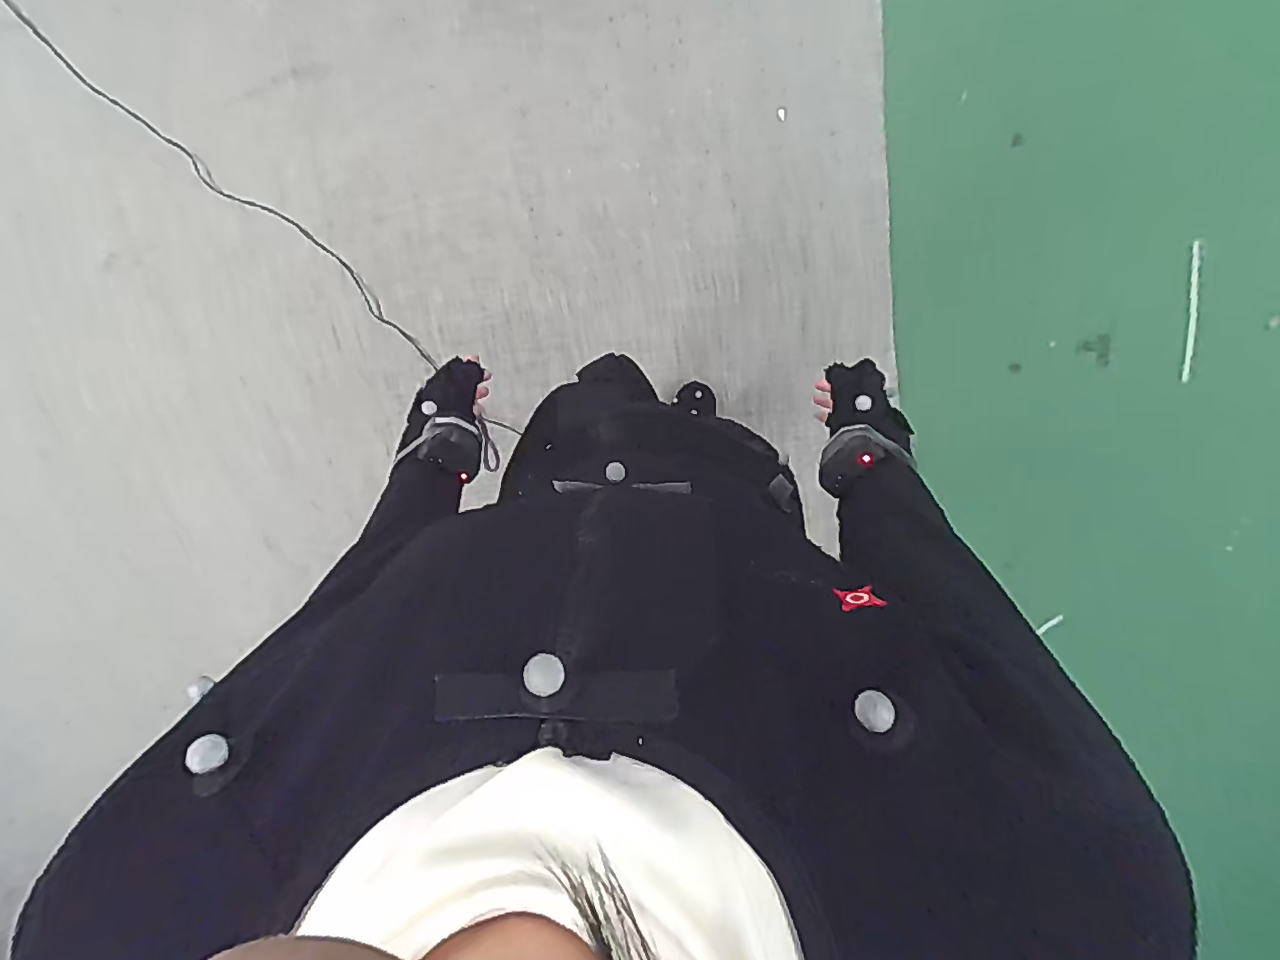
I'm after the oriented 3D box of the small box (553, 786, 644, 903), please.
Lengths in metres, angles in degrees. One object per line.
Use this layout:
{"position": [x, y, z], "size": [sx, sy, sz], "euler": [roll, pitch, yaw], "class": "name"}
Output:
{"position": [-0.095, 0.892, 1.334], "size": [0.179, 0.176, 0.168], "euler": [-12, 102, 7], "class": "small box"}
